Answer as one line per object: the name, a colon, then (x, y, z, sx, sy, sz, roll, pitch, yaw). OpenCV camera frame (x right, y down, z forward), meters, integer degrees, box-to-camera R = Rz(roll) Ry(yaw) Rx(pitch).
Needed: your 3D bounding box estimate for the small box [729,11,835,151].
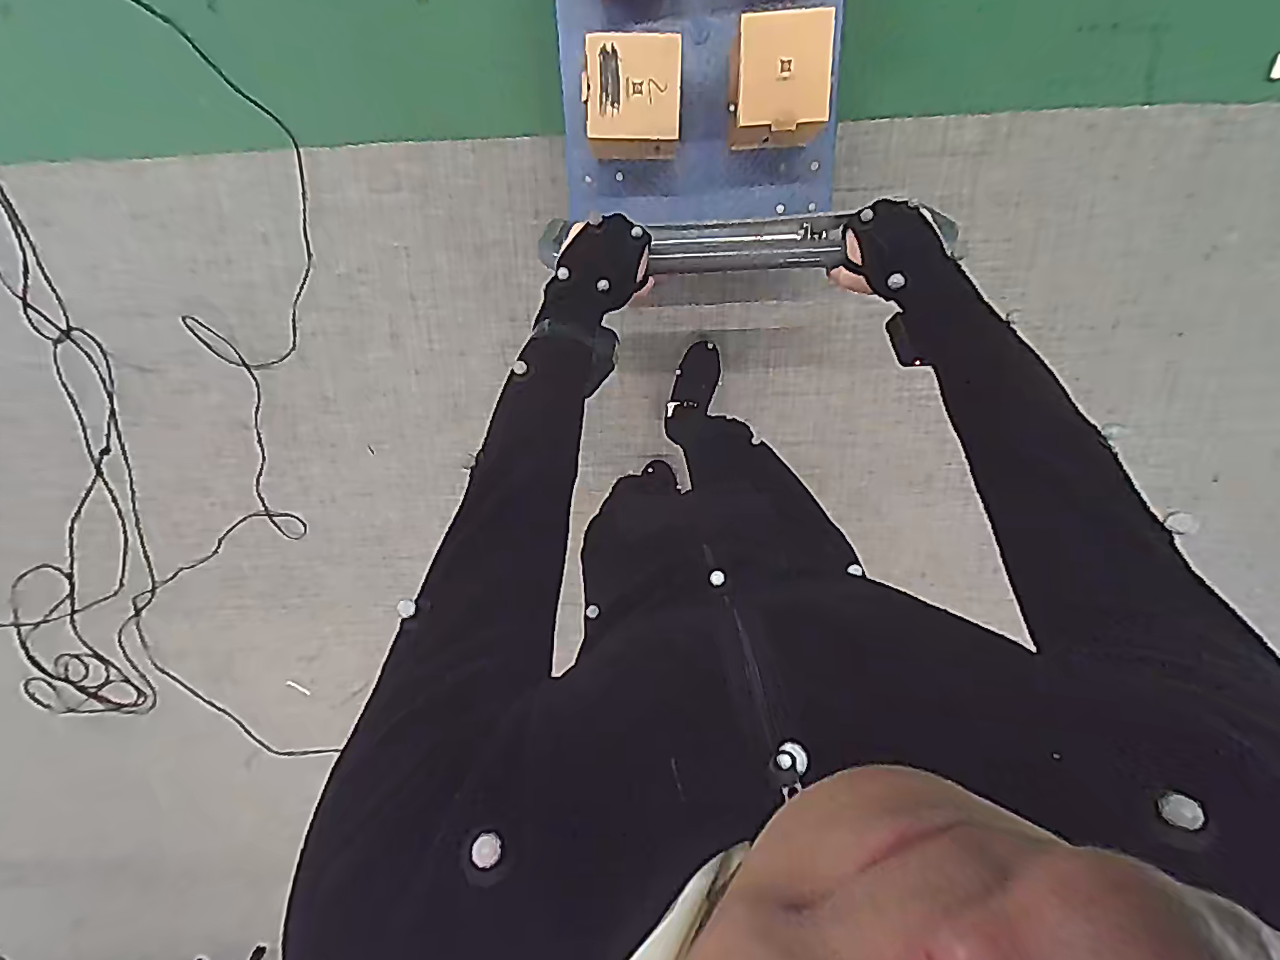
small box: (0.266, -0.762, 1.049, 0.168, 0.176, 0.179, -2, 110, 3)
